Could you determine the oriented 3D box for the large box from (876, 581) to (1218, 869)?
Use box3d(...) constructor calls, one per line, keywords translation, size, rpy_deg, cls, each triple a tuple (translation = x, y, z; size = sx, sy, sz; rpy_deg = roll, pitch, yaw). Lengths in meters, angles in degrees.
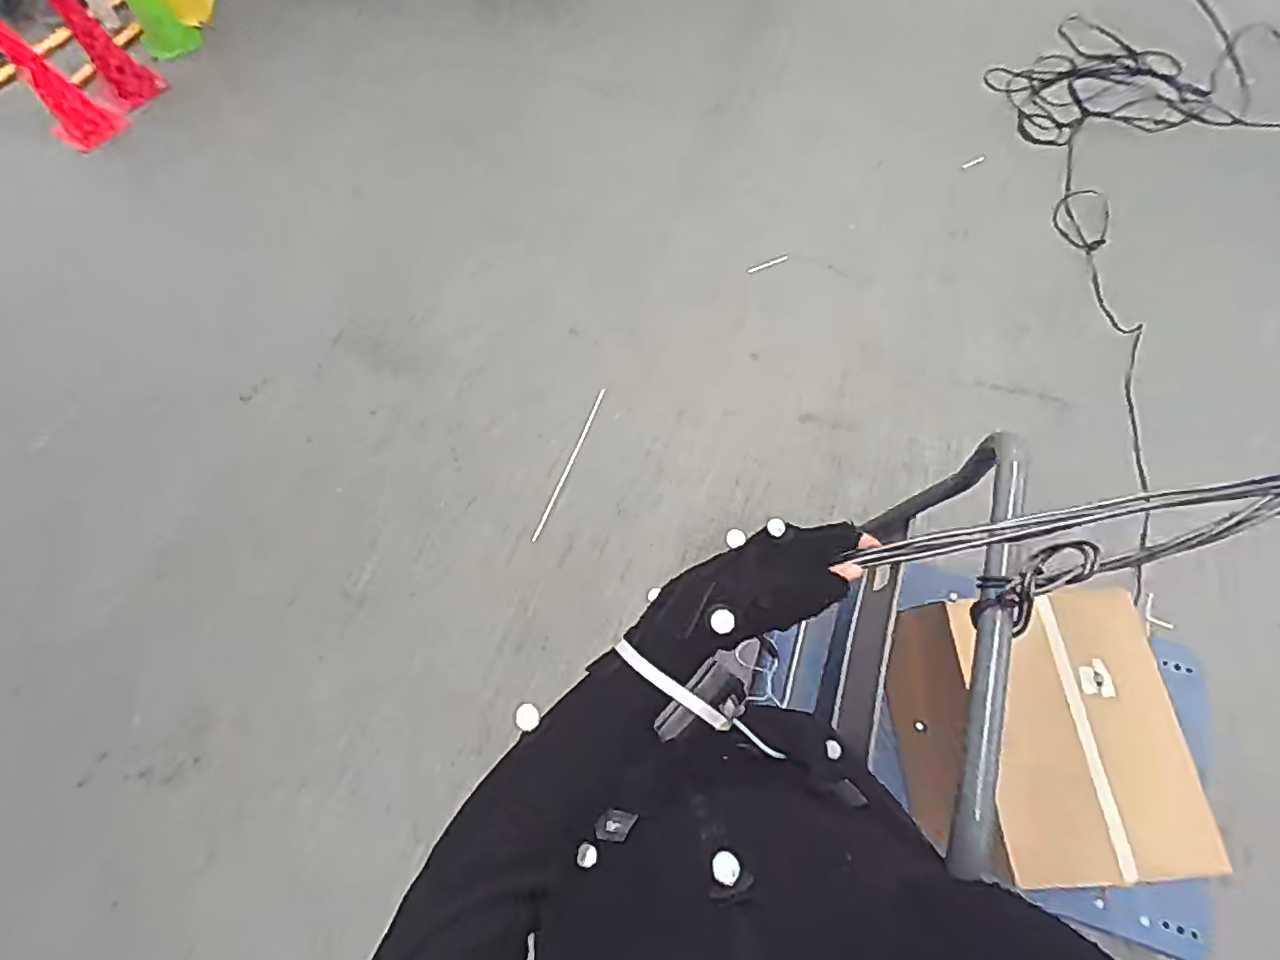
box3d(translation=(0.676, 0.421, 0.988), size=(0.320, 0.320, 0.408), rpy_deg=(-3, 69, -1), cls="large box")
